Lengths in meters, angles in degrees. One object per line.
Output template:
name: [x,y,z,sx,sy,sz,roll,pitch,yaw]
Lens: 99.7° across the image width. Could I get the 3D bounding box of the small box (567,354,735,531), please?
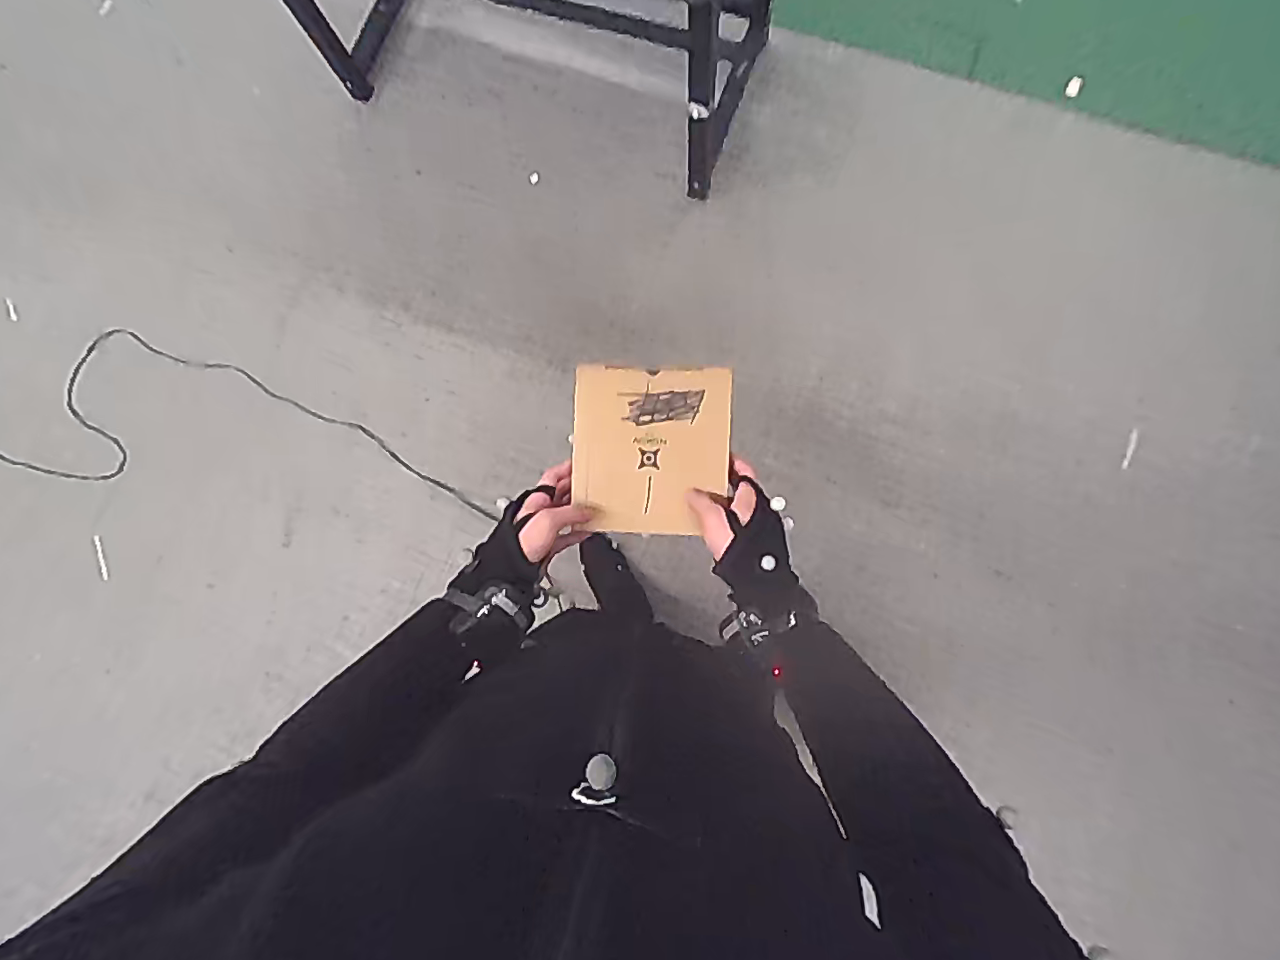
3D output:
small box: [0.015,-0.039,0.633,0.168,0.176,0.179,3,91,4]
